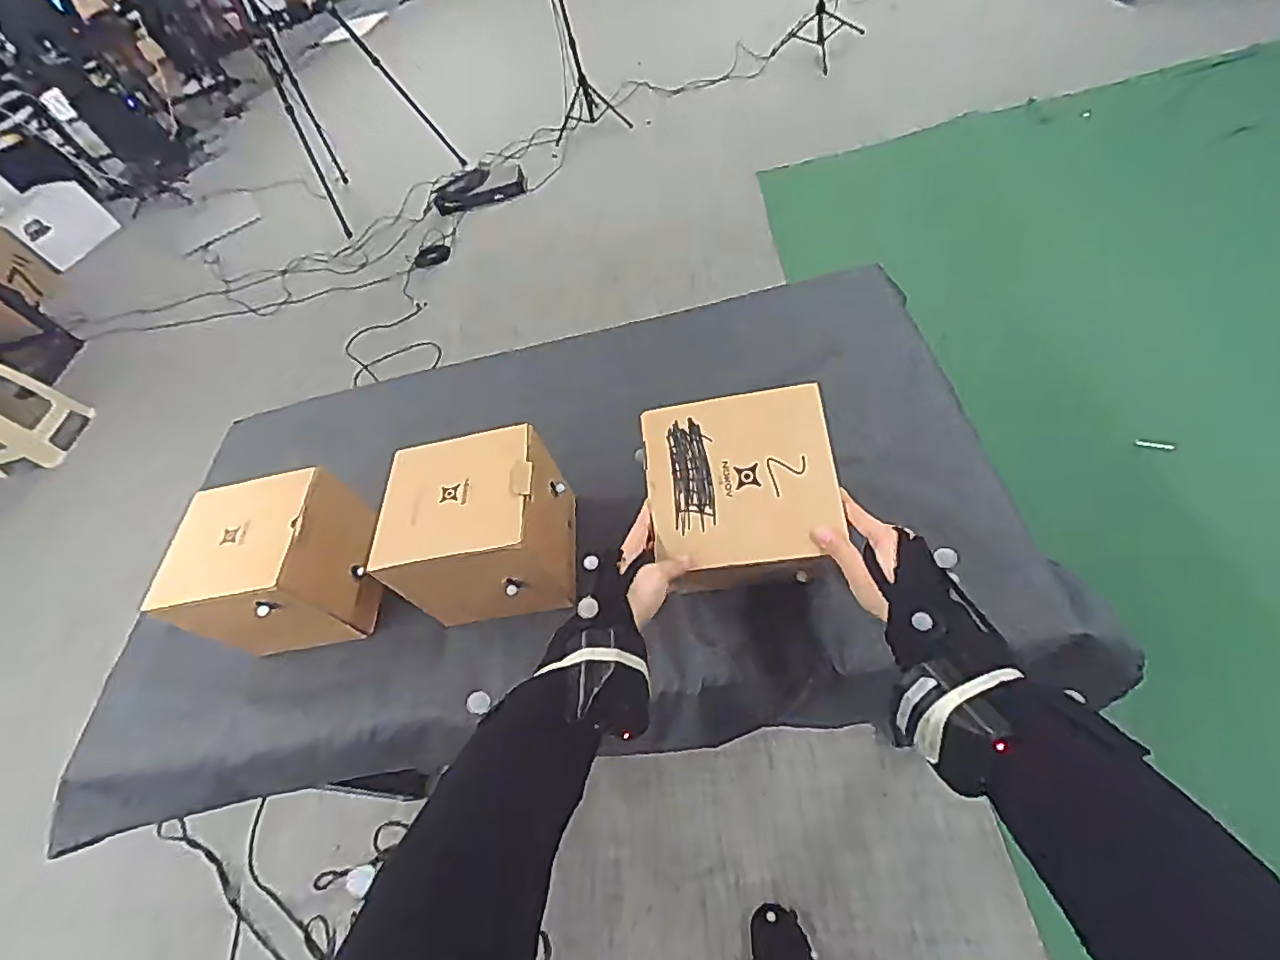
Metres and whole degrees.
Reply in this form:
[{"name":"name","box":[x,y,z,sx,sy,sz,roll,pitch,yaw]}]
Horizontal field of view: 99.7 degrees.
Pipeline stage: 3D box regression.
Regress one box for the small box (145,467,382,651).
[{"name":"small box","box":[-0.462,0.110,0.706,0.179,0.176,0.168,-12,53,7]}]

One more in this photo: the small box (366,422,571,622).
[{"name":"small box","box":[-0.190,0.059,0.663,0.179,0.176,0.168,-12,52,9]}]
